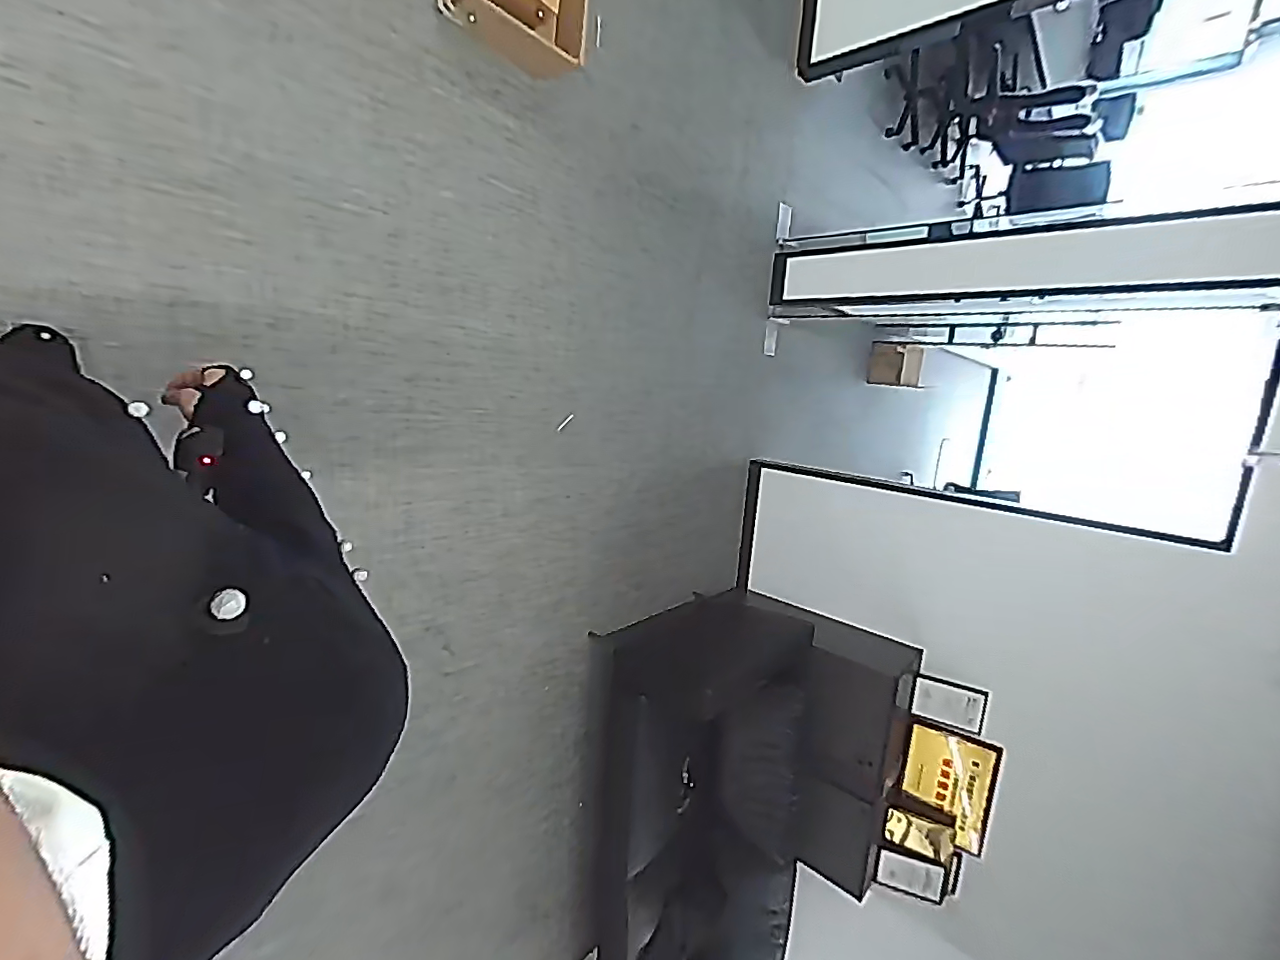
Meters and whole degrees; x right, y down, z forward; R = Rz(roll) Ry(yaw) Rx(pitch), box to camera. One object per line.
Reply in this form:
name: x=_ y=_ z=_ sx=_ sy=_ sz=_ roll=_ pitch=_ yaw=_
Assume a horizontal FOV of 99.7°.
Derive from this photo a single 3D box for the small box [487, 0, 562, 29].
small box: x=-0.338 y=-1.457 z=1.557 sx=0.179 sy=0.176 sz=0.168 roll=0 pitch=100 yaw=-48
